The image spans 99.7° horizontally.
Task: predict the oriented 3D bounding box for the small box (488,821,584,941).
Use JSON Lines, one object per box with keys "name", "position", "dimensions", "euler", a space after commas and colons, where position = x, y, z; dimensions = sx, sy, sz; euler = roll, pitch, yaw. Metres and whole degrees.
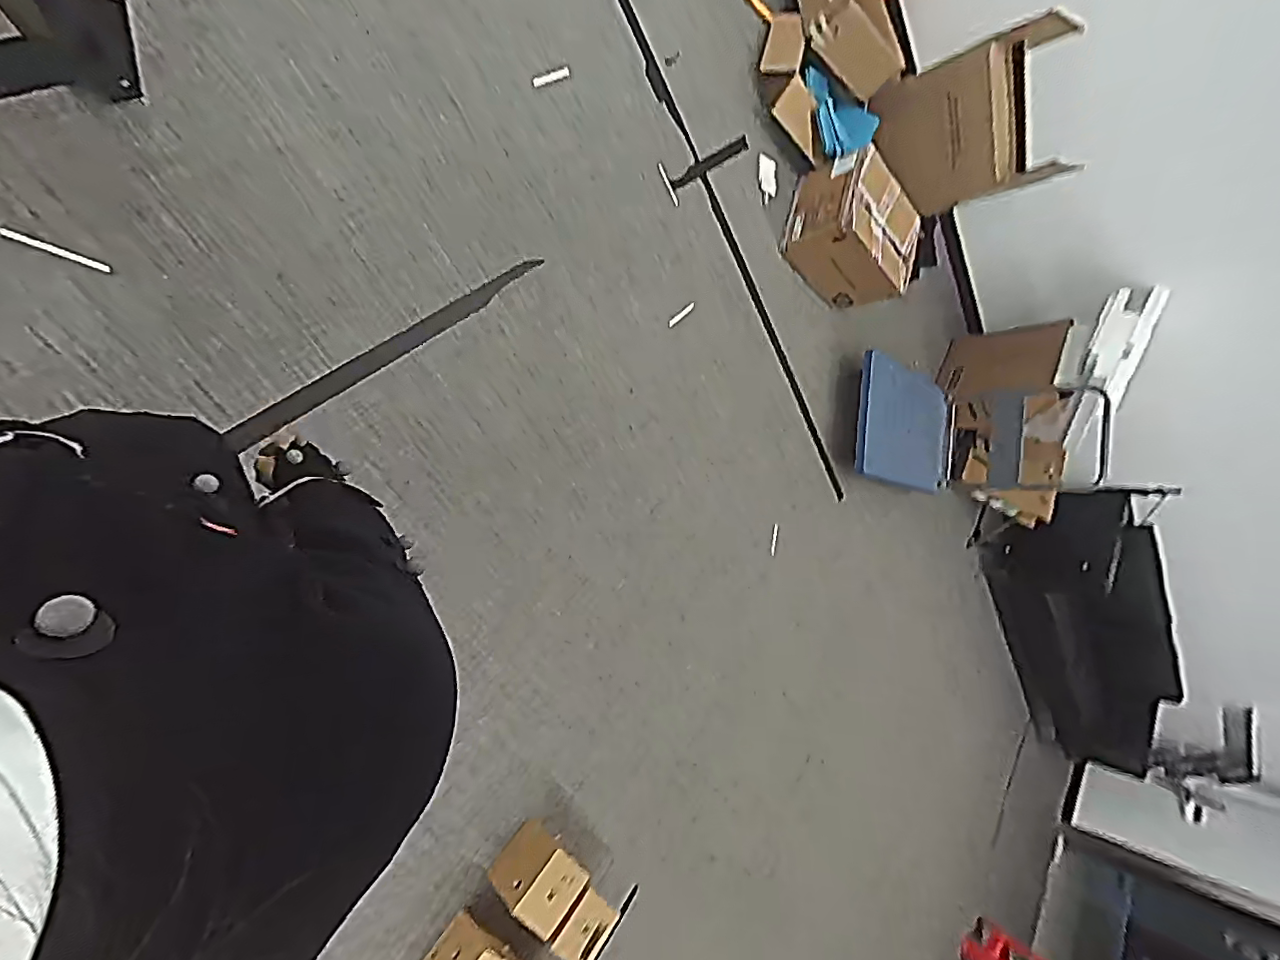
{"name": "small box", "position": [-0.296, 1.097, 1.493], "dimensions": [0.179, 0.176, 0.168], "euler": [-46, 118, -30]}
